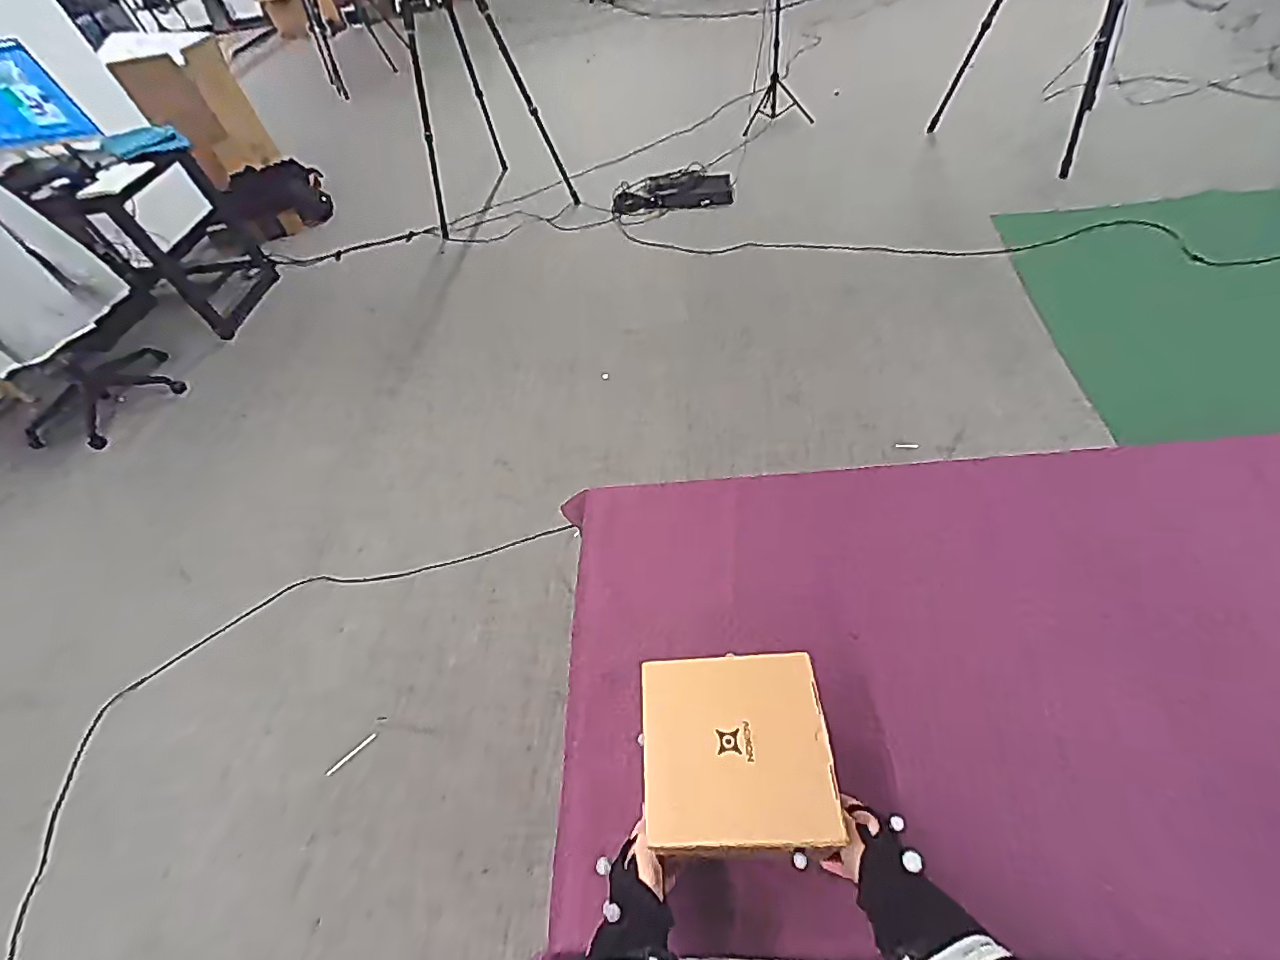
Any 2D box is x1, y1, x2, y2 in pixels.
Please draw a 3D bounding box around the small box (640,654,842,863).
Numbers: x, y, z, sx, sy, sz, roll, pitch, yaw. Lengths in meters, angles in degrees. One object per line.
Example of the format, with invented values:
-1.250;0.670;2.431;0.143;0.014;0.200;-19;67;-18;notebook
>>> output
0.099;0.301;0.576;0.179;0.176;0.168;-6;51;6;small box
